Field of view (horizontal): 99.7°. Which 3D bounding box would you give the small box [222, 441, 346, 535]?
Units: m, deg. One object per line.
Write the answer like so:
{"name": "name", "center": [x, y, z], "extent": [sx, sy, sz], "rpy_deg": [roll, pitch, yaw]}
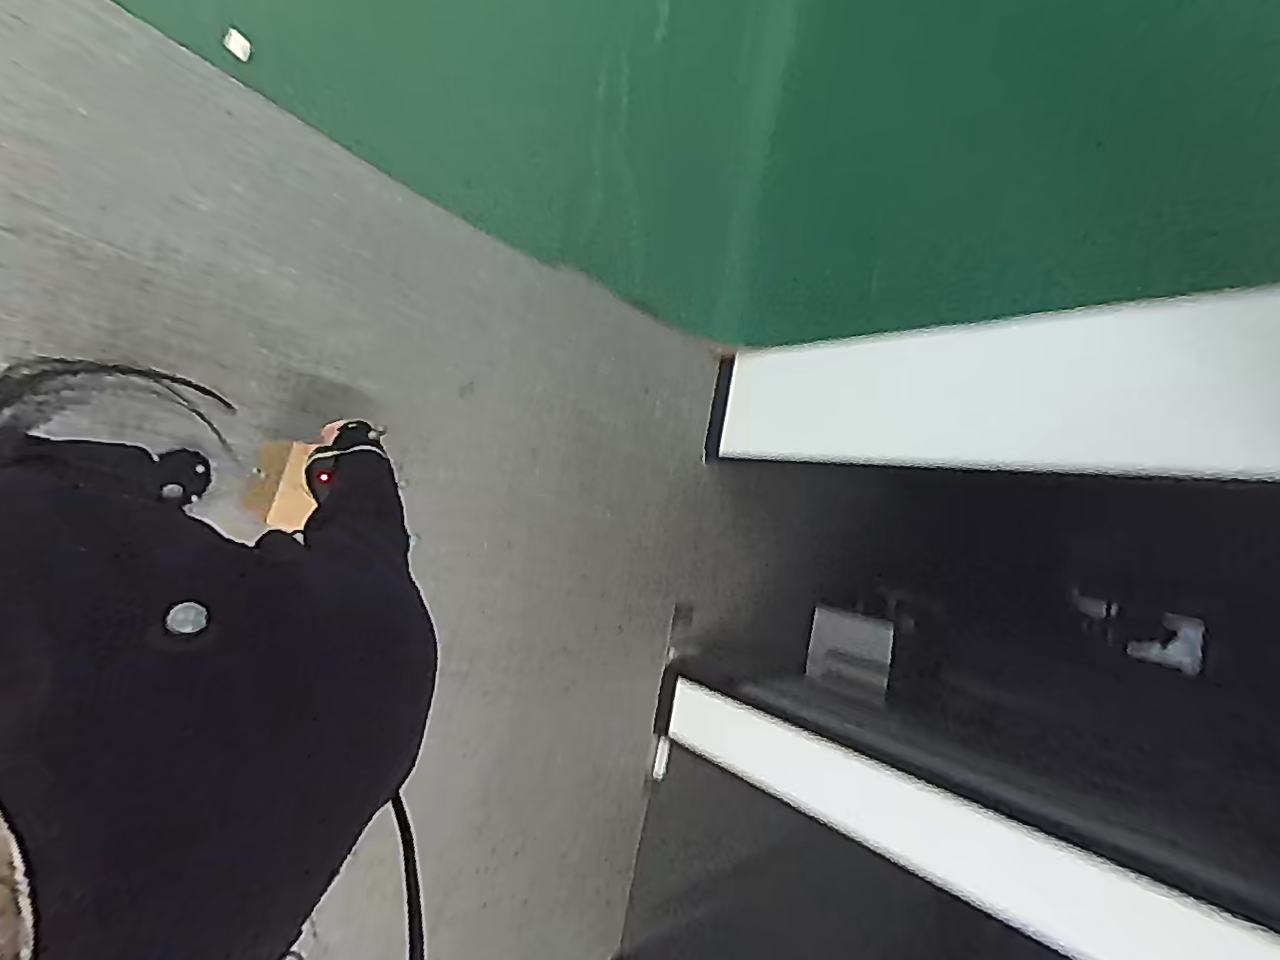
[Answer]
{"name": "small box", "center": [-0.823, 0.018, 1.246], "extent": [0.179, 0.176, 0.168], "rpy_deg": [28, 74, -43]}
